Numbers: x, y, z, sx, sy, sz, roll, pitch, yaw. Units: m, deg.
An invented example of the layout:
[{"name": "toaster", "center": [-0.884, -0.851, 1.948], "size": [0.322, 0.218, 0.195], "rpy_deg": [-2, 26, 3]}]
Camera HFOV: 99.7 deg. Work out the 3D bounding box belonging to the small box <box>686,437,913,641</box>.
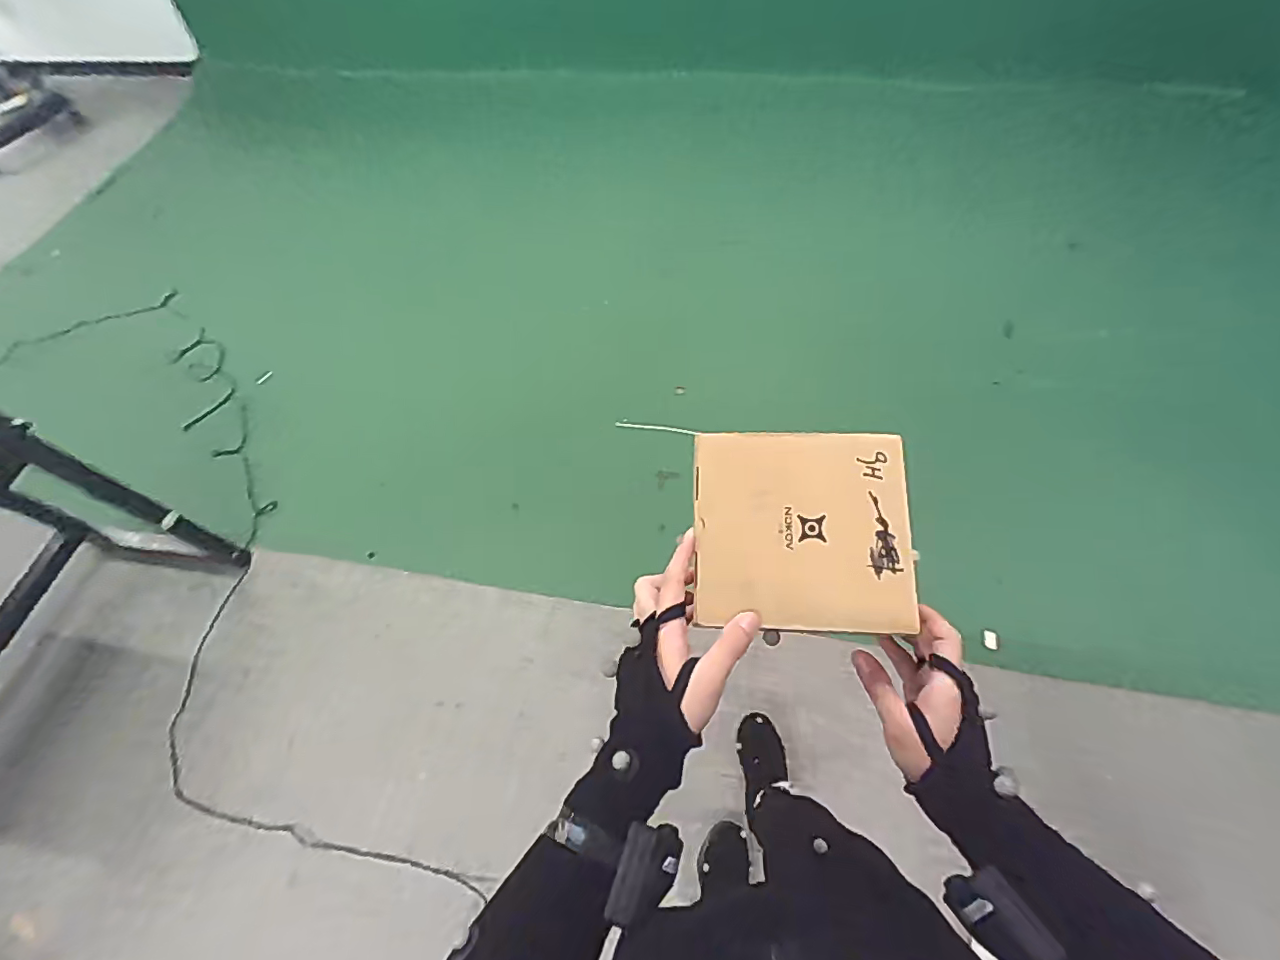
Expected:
[{"name": "small box", "center": [0.136, 0.065, 0.522], "size": [0.179, 0.176, 0.168], "rpy_deg": [1, 74, 6]}]
